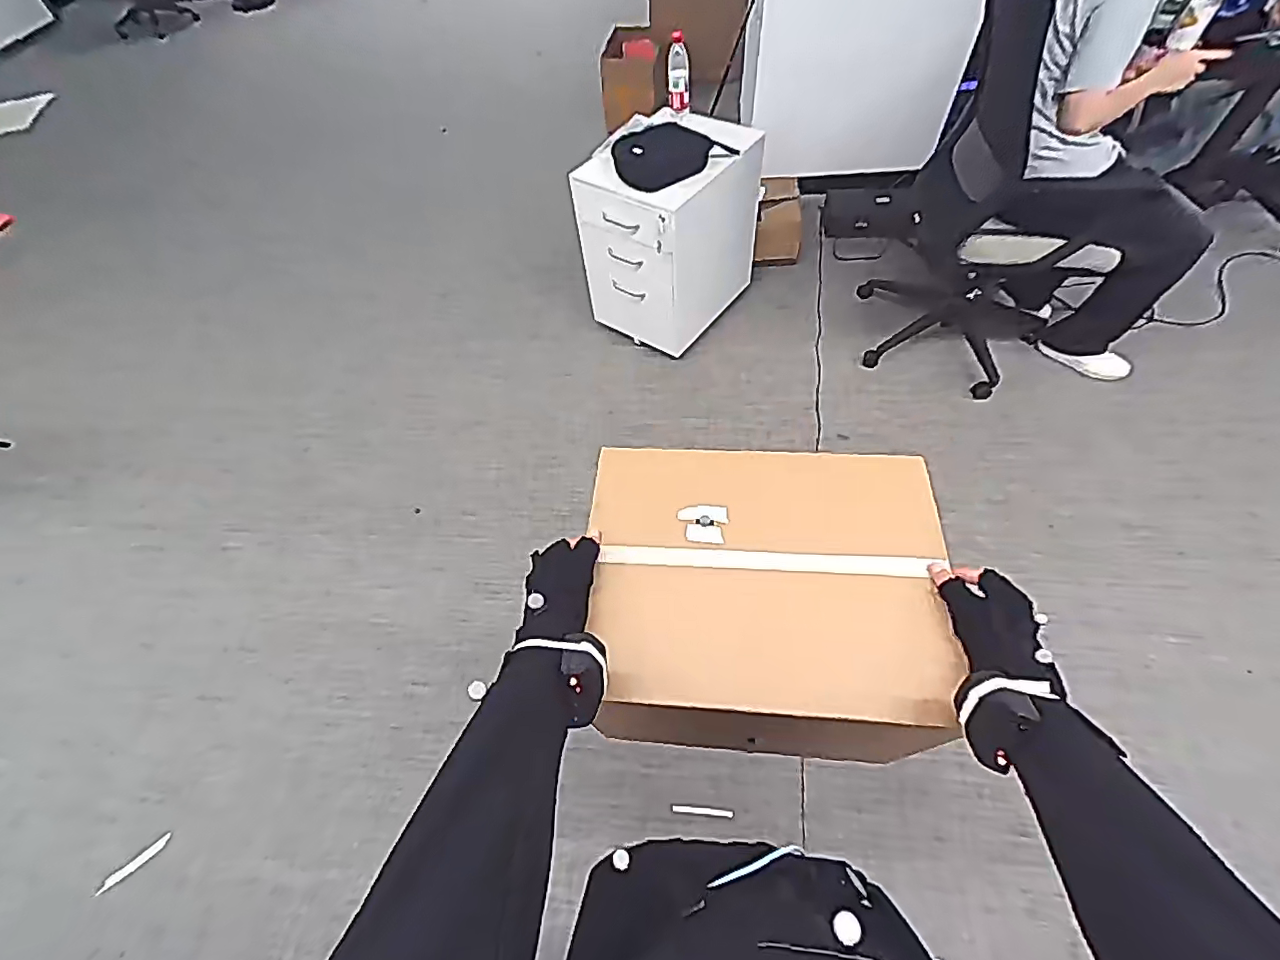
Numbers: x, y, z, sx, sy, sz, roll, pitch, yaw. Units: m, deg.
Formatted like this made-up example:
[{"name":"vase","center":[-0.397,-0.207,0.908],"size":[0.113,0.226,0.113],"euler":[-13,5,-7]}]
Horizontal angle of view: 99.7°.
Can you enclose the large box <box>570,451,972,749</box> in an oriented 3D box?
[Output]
[{"name":"large box","center":[0.151,0.173,0.743],"size":[0.408,0.320,0.320],"euler":[2,57,8]}]
